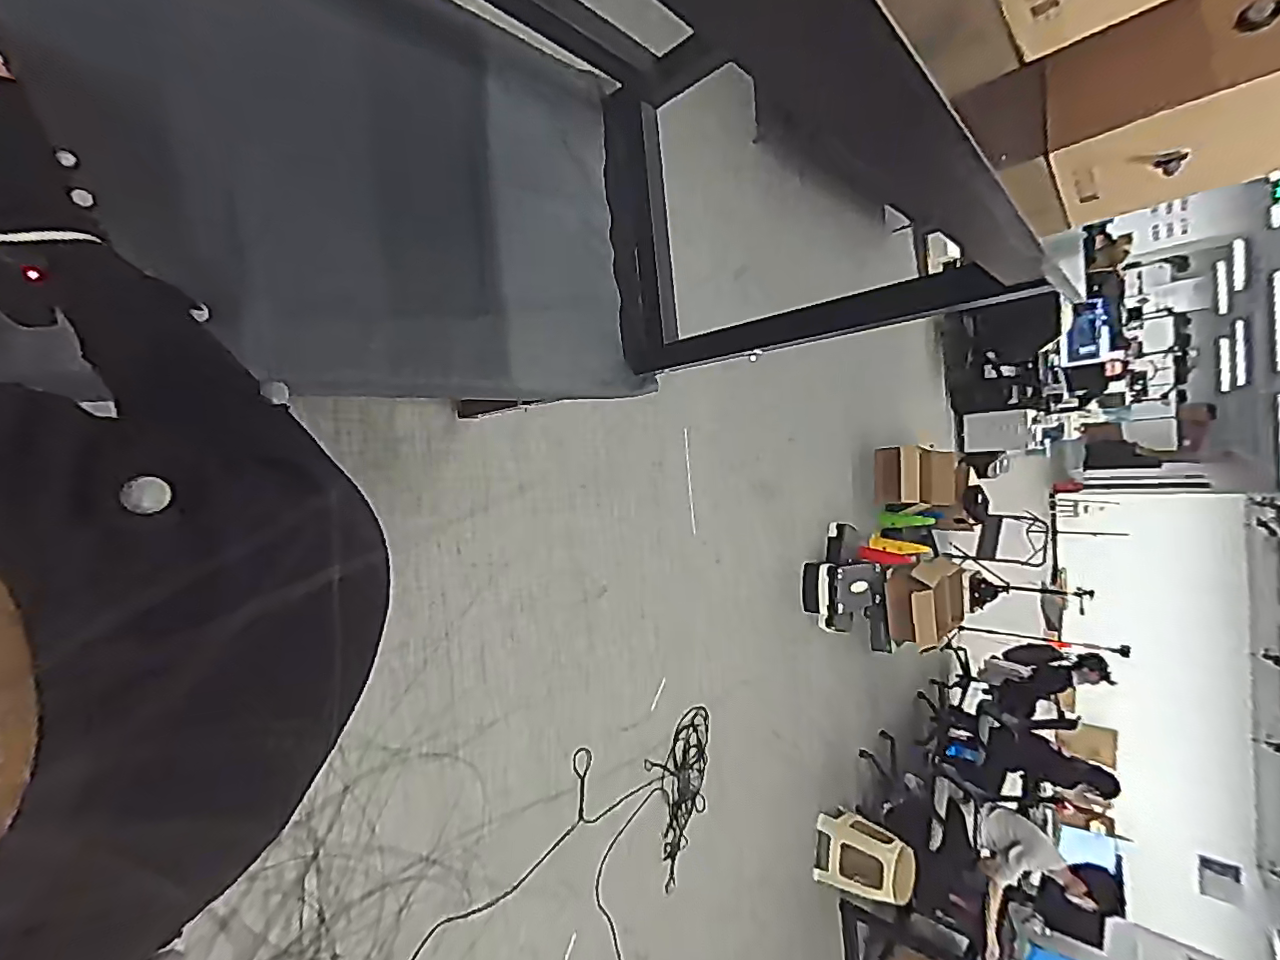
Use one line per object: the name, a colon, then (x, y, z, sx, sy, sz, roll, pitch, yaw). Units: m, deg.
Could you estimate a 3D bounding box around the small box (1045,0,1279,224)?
small box: (0.471, -0.358, 0.472, 0.168, 0.176, 0.179, 7, 83, -46)
